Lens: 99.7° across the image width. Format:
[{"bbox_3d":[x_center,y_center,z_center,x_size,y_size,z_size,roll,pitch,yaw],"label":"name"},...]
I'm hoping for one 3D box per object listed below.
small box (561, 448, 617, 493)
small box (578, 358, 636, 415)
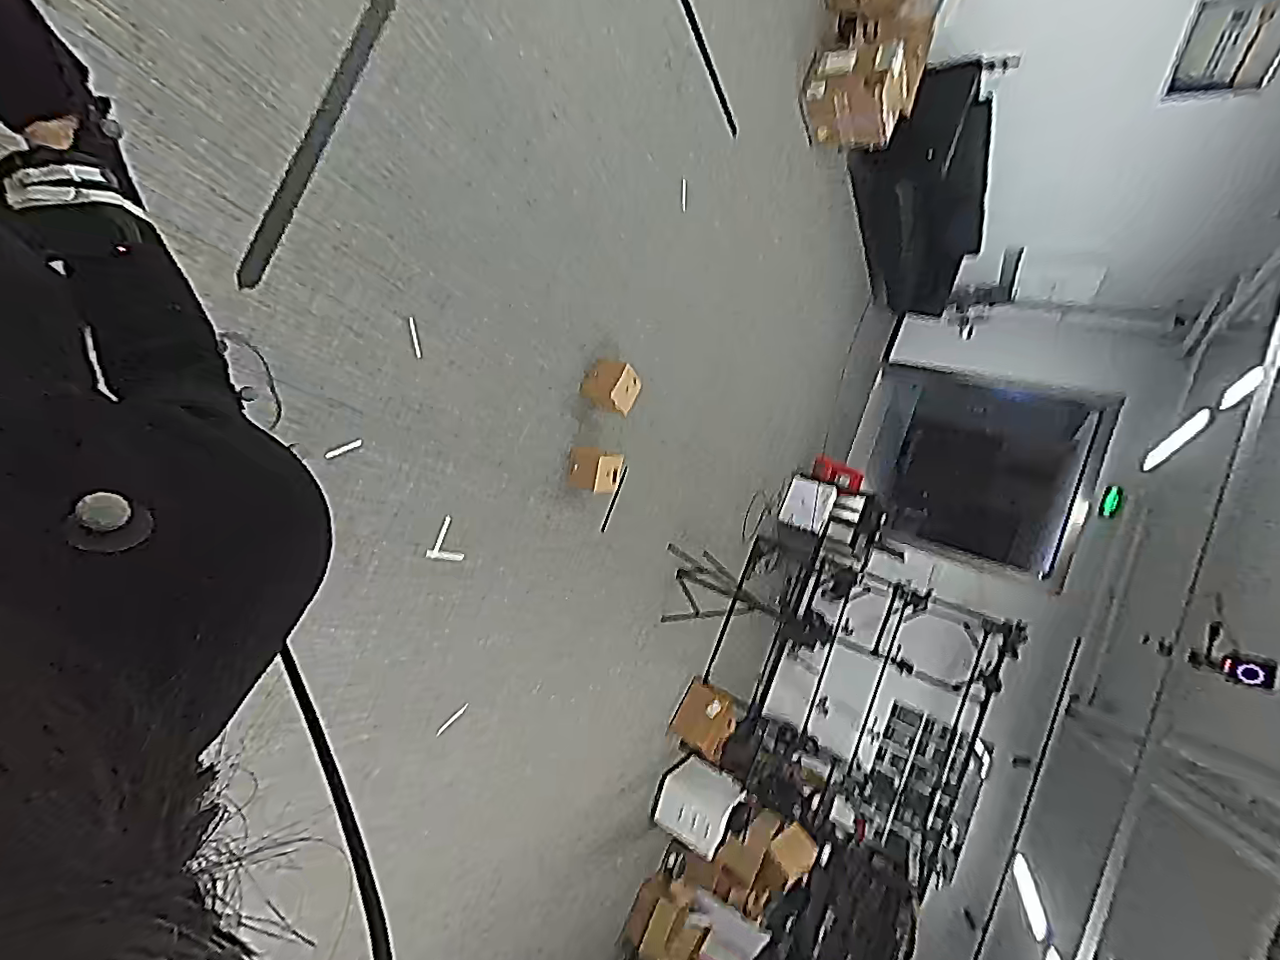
[{"bbox_3d":[-0.232,-0.050,2.463,0.179,0.176,0.168,-7,112,-56],"label":"small box"},{"bbox_3d":[-0.150,-0.416,2.401,0.179,0.176,0.168,-62,148,-15],"label":"small box"}]
